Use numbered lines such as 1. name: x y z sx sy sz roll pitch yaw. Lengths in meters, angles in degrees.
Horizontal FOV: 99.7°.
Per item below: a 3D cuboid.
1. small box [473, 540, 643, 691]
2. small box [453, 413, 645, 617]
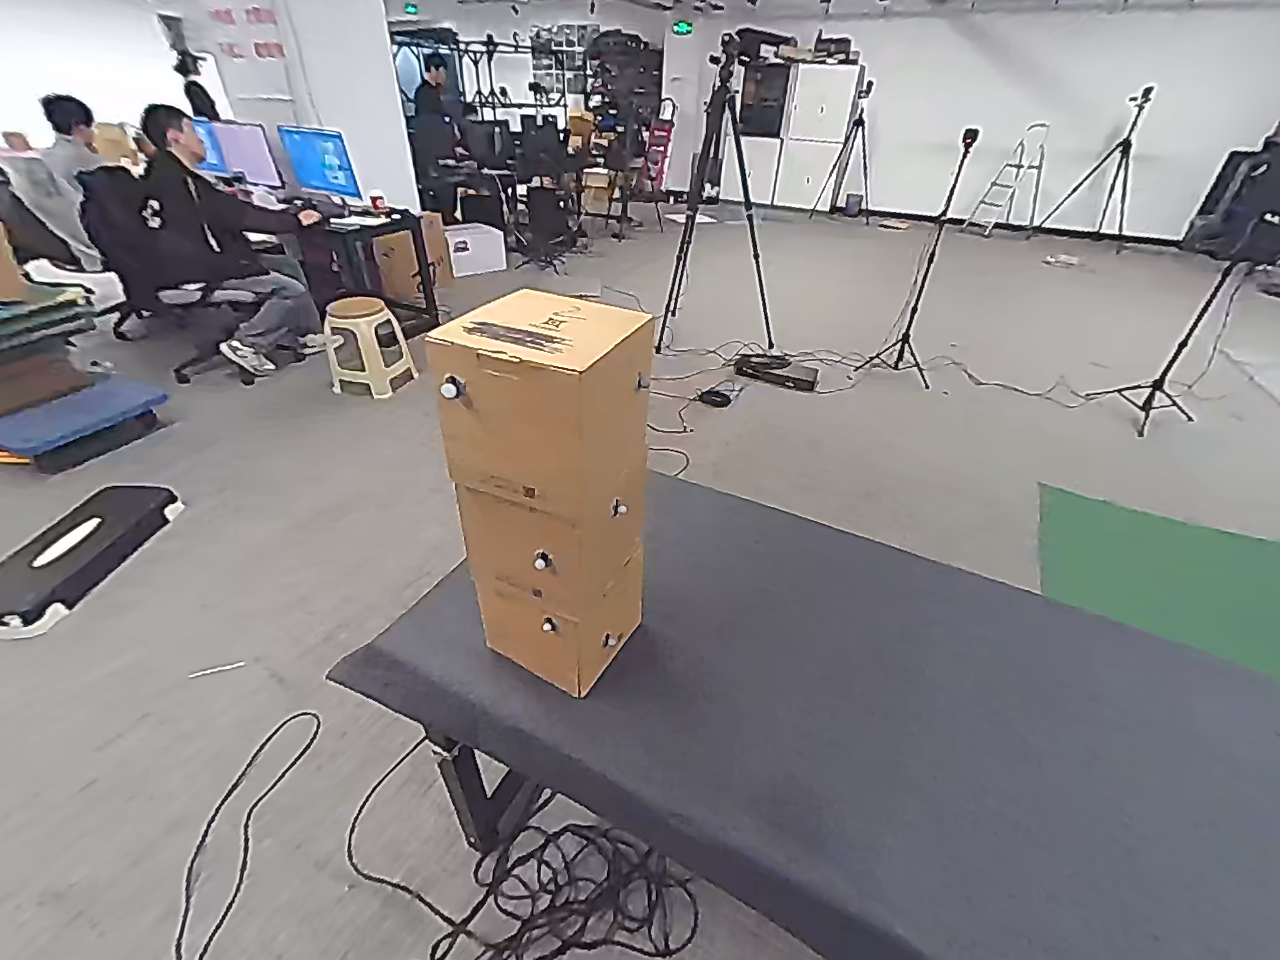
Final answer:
1. small box: -0.112 0.170 0.786 0.179 0.176 0.168 20 38 23
2. small box: -0.105 0.042 0.687 0.168 0.176 0.179 18 37 18
